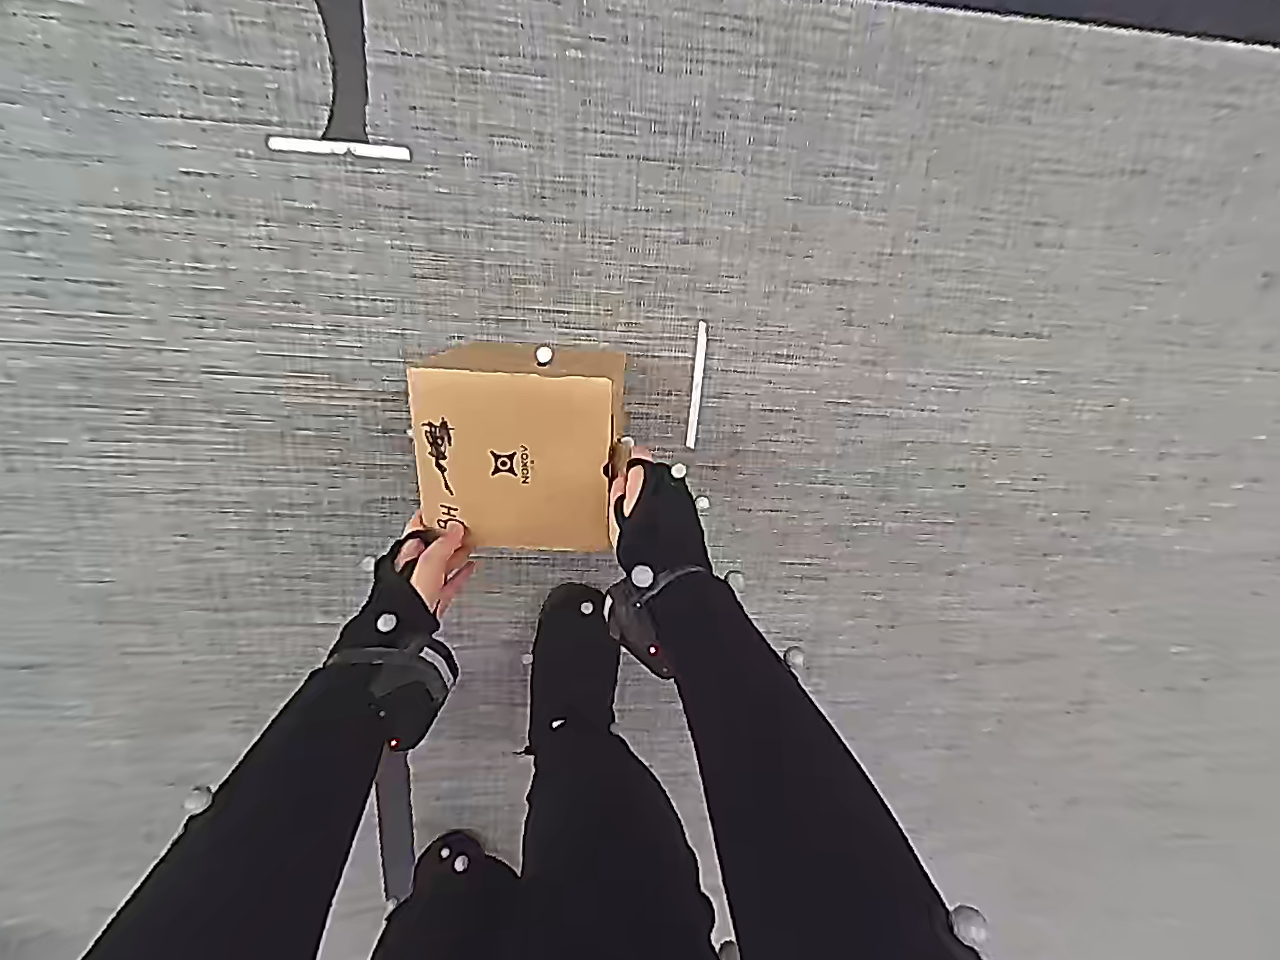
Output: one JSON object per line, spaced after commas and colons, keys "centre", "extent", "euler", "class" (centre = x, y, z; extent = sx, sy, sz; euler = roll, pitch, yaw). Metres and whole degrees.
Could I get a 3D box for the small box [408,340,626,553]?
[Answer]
{"centre": [-0.106, -0.043, 0.540], "extent": [0.179, 0.176, 0.168], "euler": [4, 112, 0], "class": "small box"}
